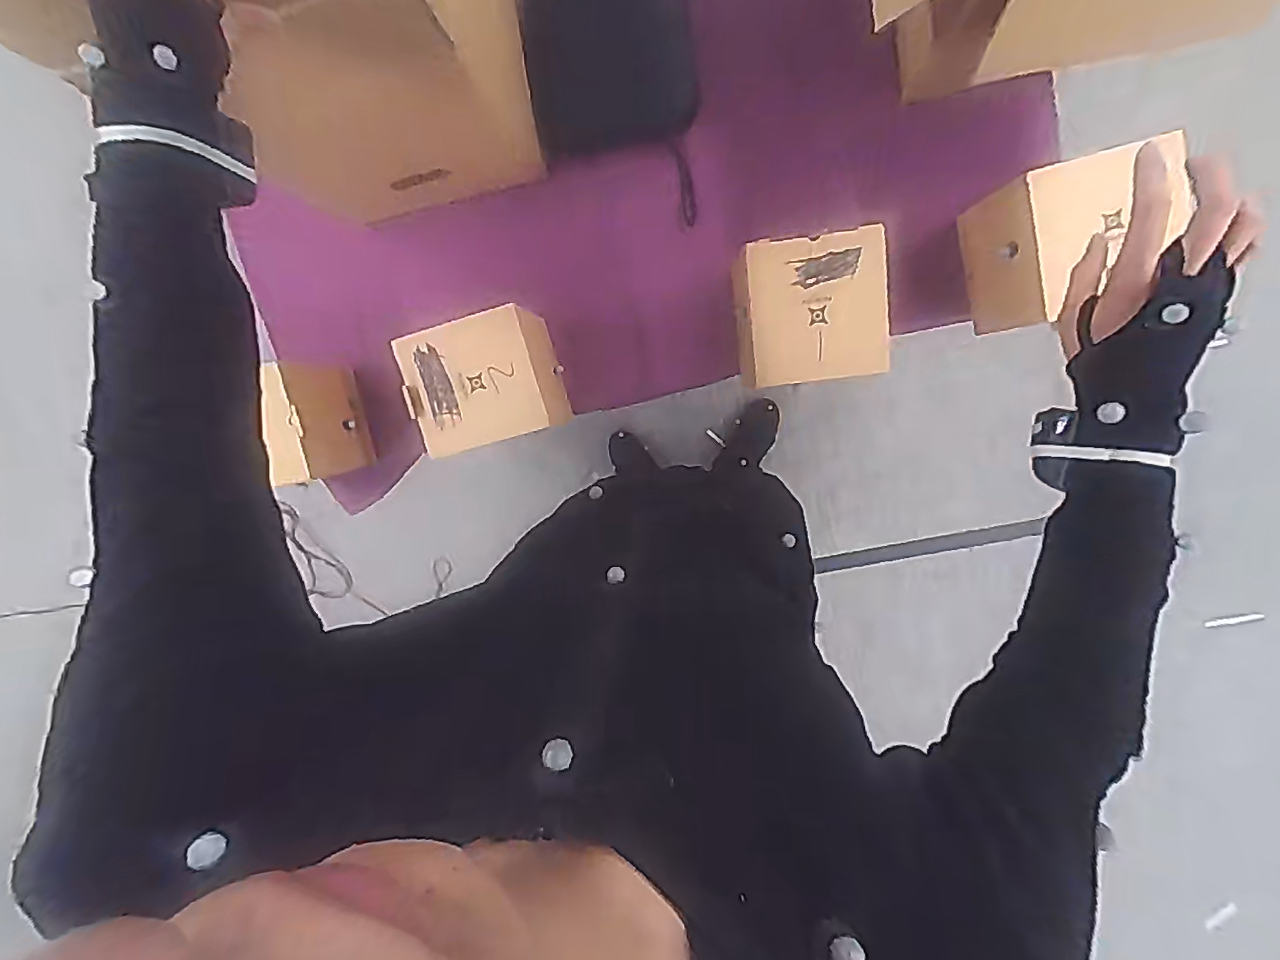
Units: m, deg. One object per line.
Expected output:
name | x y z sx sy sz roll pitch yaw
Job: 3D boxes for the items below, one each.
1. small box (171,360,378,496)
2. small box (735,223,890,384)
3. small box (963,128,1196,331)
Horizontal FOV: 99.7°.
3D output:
small box | -0.541 -0.081 0.825 0.179 0.176 0.168 -11 99 5
small box | 0.225 -0.227 0.738 0.168 0.176 0.179 -6 101 6
small box | 0.546 -0.304 0.696 0.168 0.176 0.179 -13 99 8
